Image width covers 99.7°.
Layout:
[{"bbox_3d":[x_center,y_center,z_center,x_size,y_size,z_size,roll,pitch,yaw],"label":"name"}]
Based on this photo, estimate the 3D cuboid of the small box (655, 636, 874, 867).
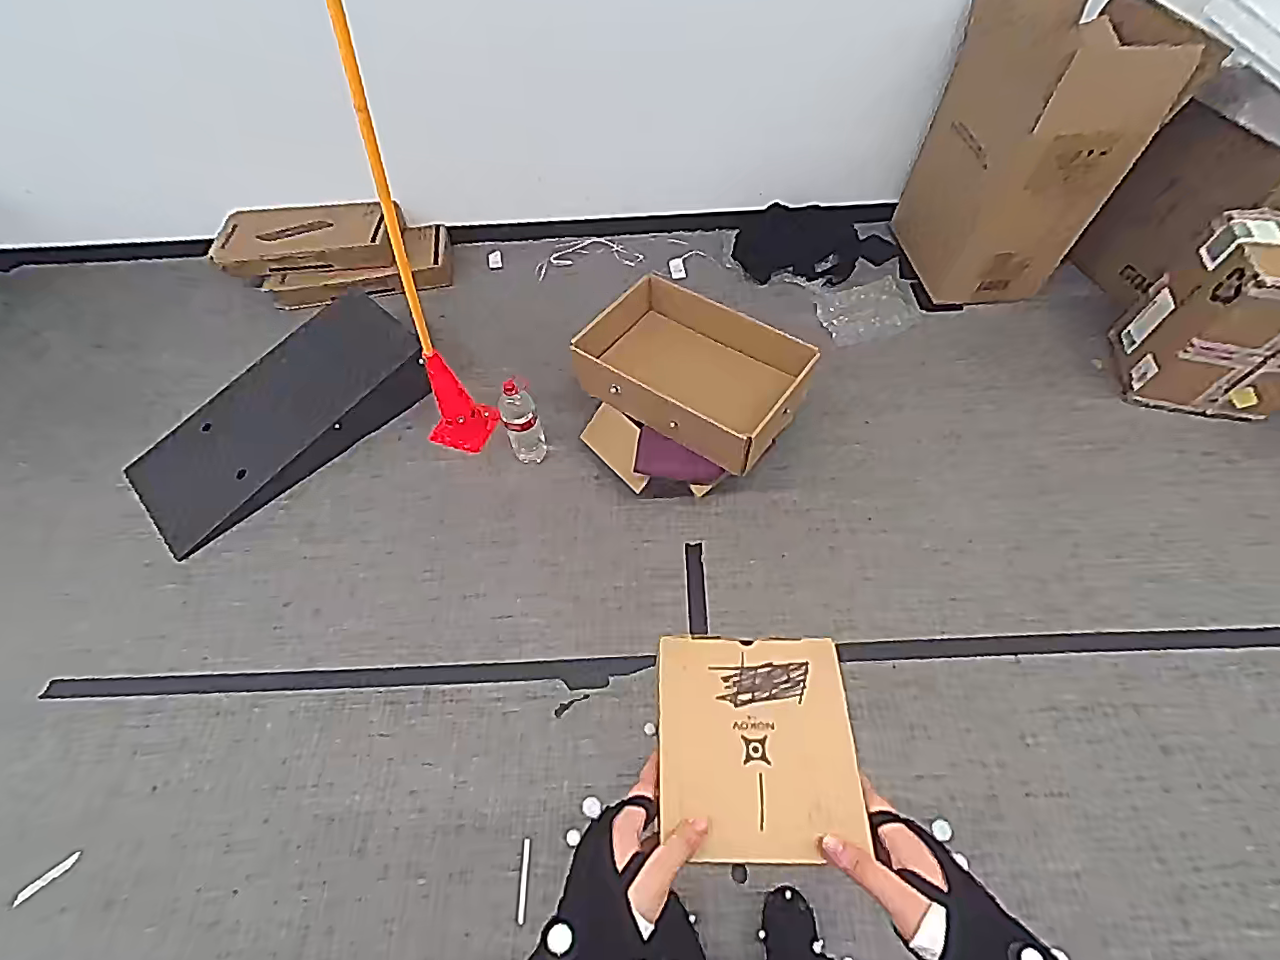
[{"bbox_3d":[0.100,0.265,0.525,0.168,0.176,0.179,1,56,1],"label":"small box"}]
